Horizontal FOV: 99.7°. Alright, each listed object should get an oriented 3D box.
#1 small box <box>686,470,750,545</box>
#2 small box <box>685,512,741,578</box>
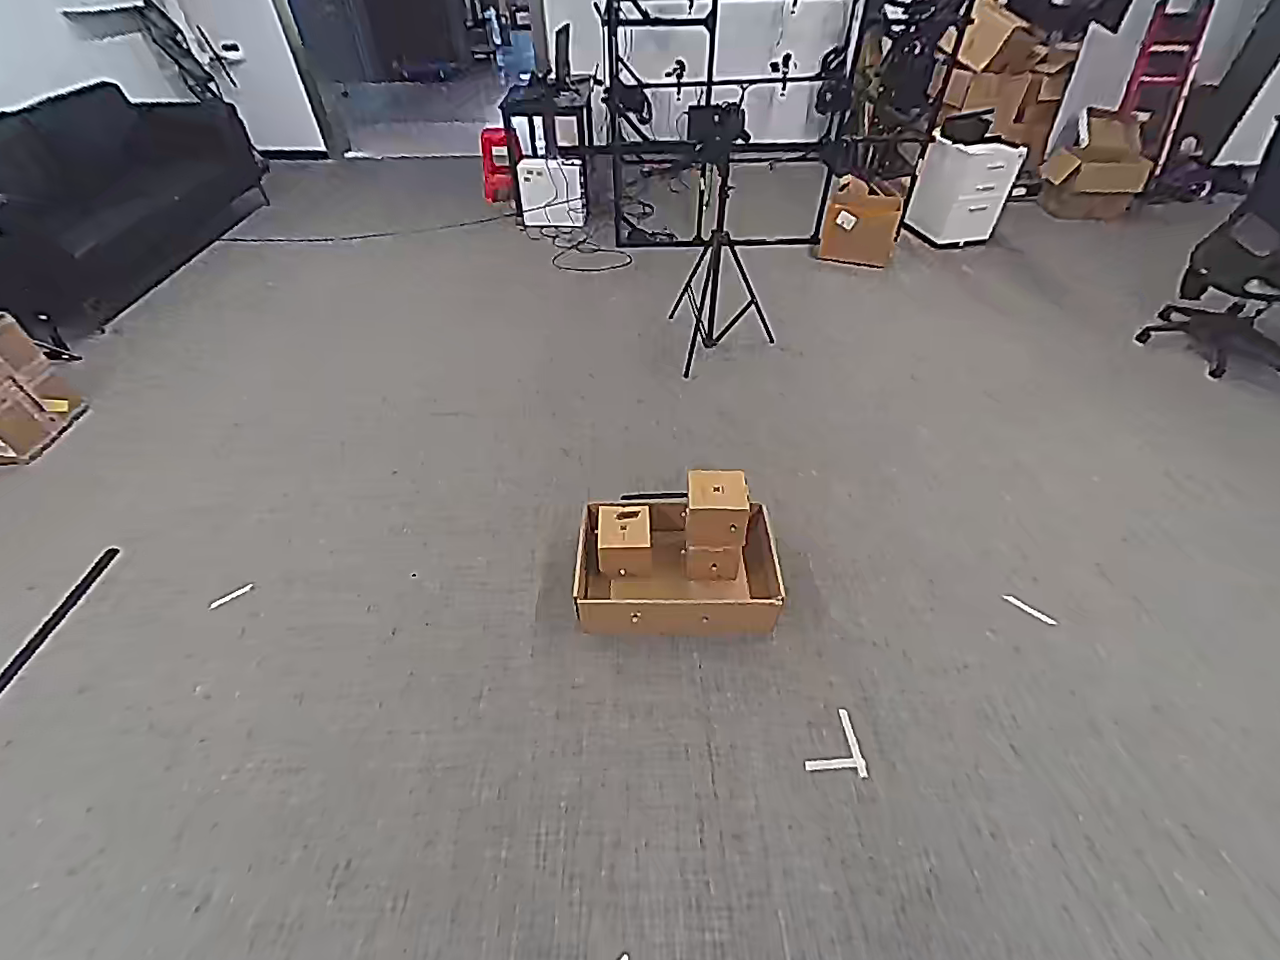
[{"bbox_3d":[0.234,0.087,1.660,0.179,0.176,0.168,-1,43,3],"label":"small box"},{"bbox_3d":[0.233,0.206,1.770,0.168,0.176,0.179,0,46,1],"label":"small box"}]
